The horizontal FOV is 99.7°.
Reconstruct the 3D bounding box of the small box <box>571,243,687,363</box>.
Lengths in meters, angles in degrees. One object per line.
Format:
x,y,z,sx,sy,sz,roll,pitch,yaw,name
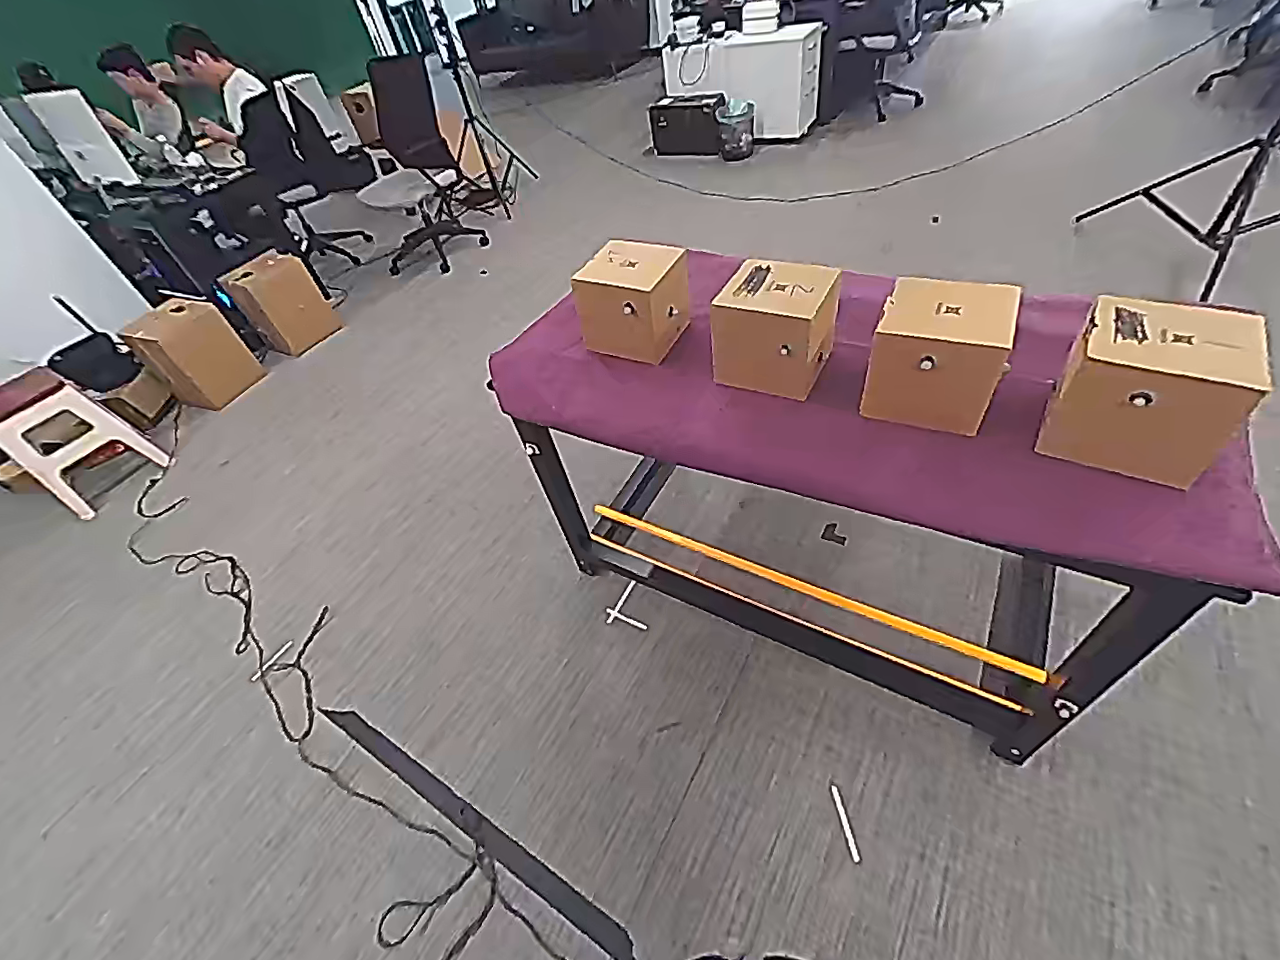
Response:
-0.012,-0.363,1.117,0.179,0.176,0.168,17,53,23,small box

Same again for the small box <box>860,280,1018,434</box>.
0.470,-0.195,0.865,0.179,0.176,0.168,16,53,26,small box

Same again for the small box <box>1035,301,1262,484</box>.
0.682,-0.120,0.743,0.179,0.176,0.168,21,54,28,small box
